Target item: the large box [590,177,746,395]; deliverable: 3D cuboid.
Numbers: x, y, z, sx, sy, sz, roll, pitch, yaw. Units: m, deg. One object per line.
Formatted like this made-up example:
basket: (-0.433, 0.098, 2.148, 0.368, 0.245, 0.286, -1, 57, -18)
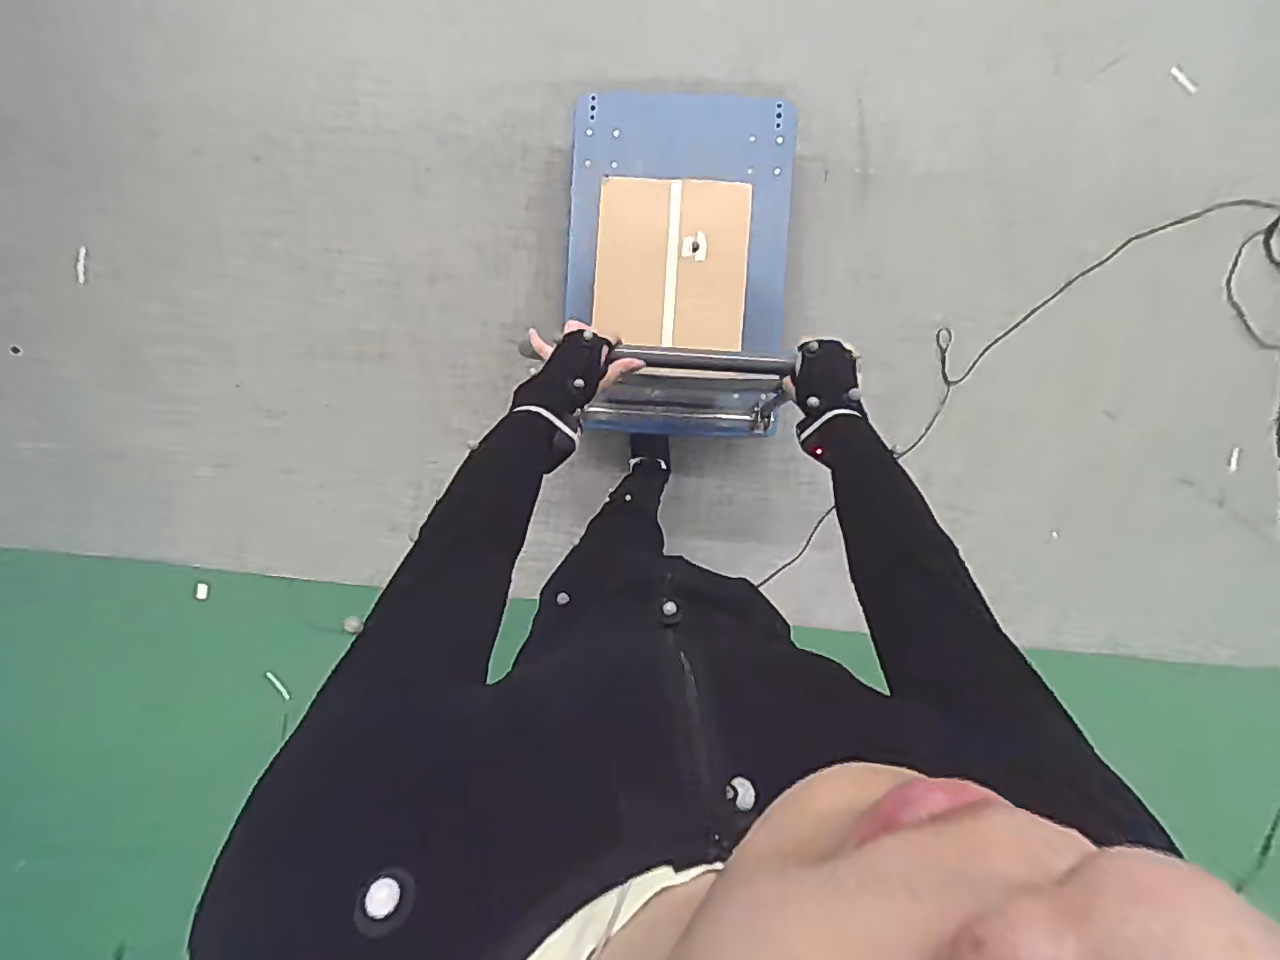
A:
large box: (0.061, -0.422, 1.263, 0.320, 0.320, 0.408, 3, 91, 0)
